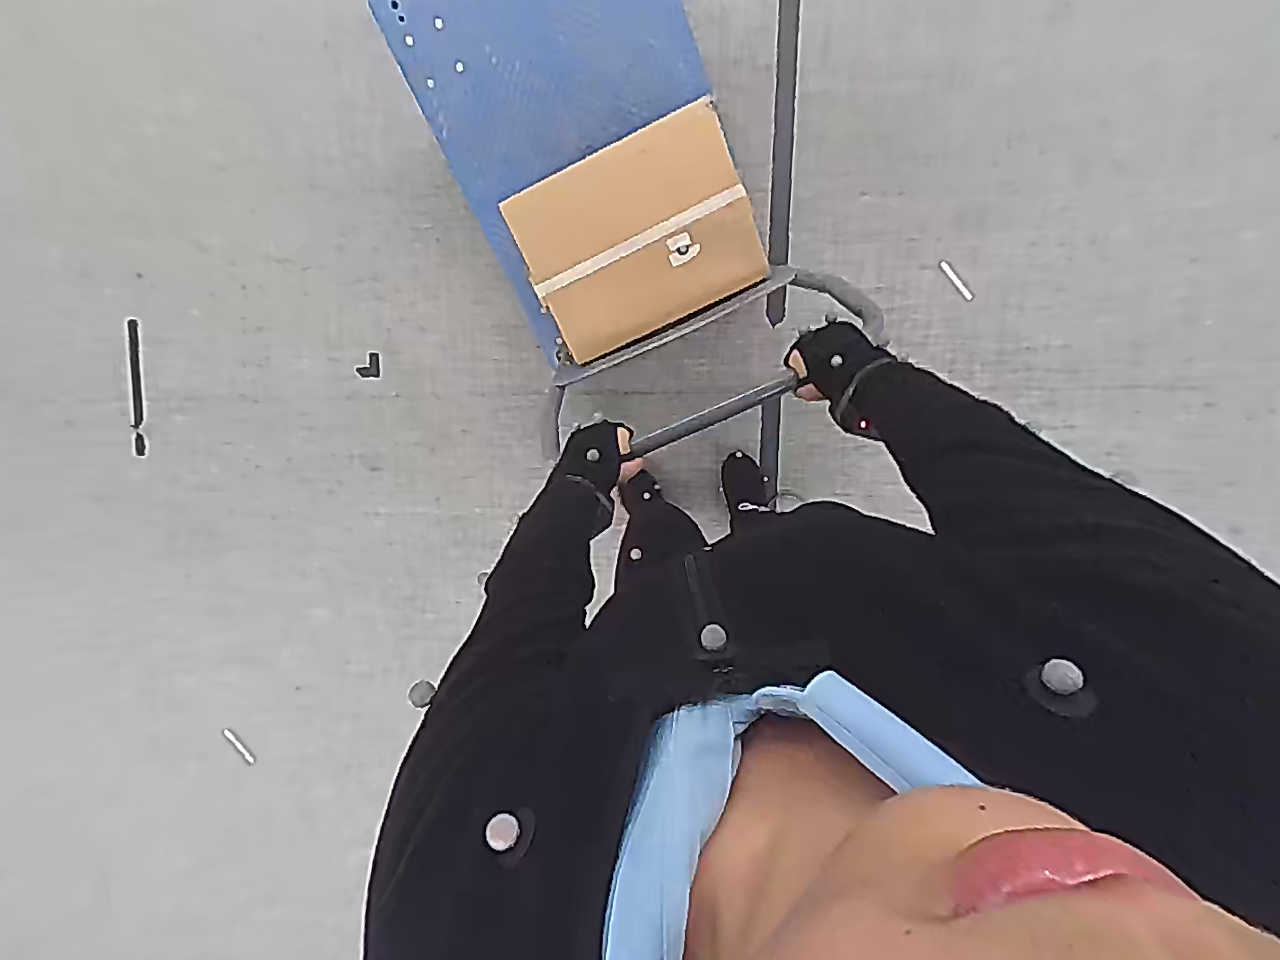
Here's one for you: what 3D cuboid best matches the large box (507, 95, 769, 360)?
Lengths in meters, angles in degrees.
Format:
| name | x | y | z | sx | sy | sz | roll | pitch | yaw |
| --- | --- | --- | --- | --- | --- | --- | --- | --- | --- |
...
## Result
| name | x | y | z | sx | sy | sz | roll | pitch | yaw |
| --- | --- | --- | --- | --- | --- | --- | --- | --- | --- |
| large box | -0.006 | -0.493 | 1.128 | 0.408 | 0.320 | 0.320 | -25 | 110 | 6 |
